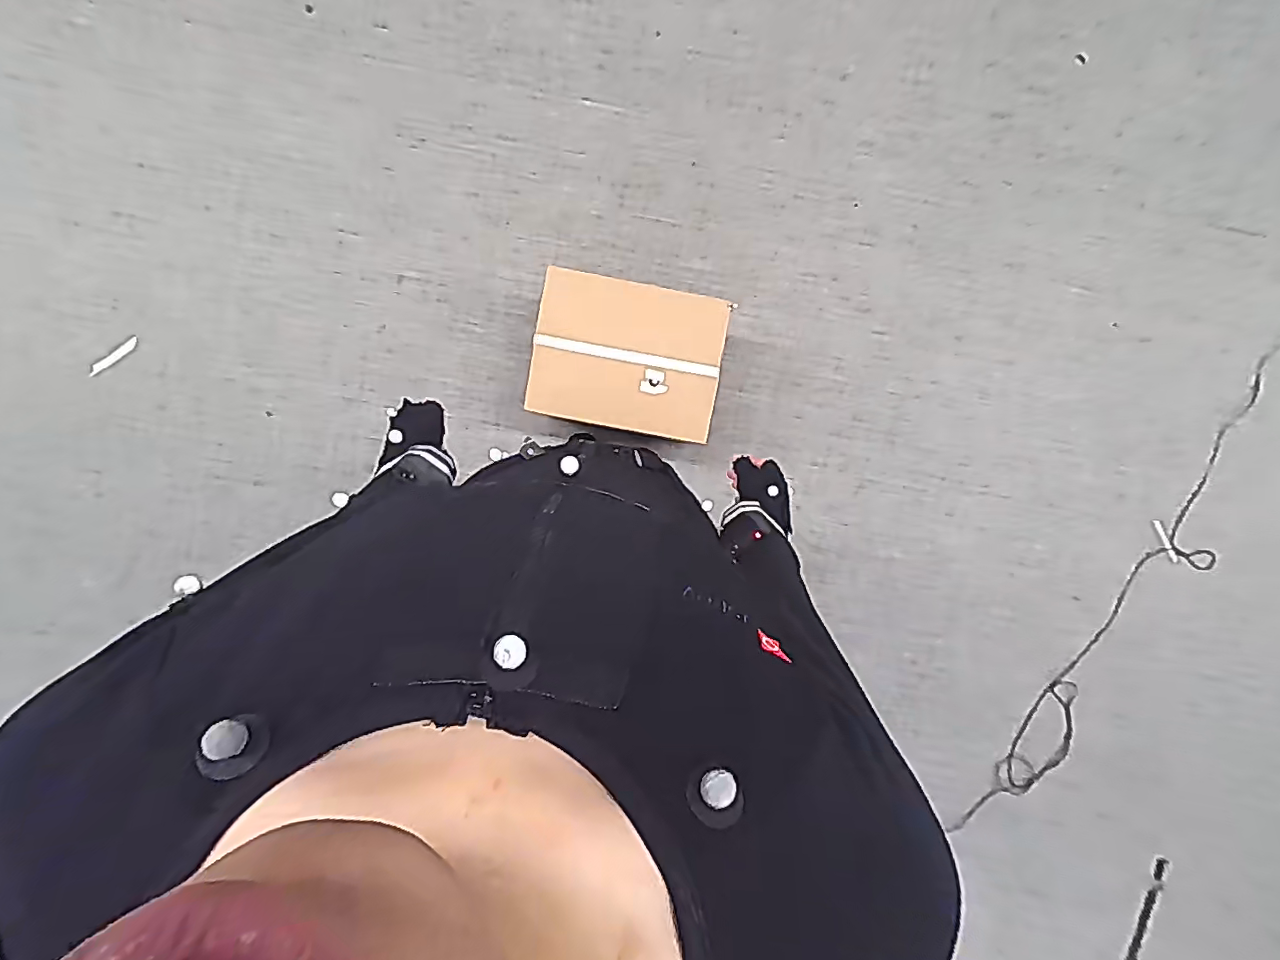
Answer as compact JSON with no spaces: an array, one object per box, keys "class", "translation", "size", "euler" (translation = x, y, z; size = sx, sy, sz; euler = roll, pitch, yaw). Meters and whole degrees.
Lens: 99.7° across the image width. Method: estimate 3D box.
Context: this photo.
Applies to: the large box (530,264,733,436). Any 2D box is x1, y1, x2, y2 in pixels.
[{"class":"large box","translation":[-0.026,-0.289,1.308],"size":[0.408,0.320,0.320],"euler":[10,95,-3]}]
